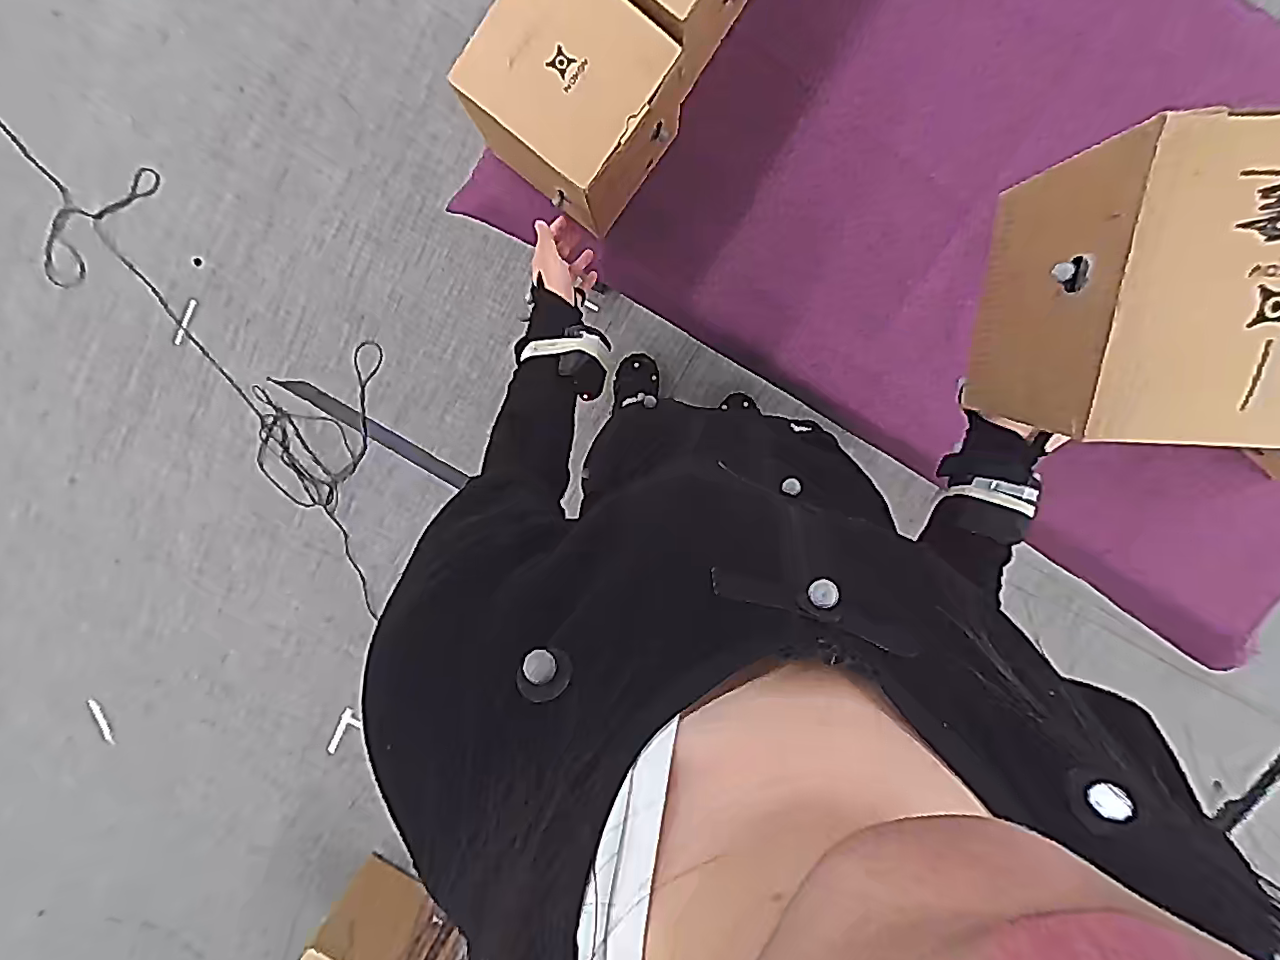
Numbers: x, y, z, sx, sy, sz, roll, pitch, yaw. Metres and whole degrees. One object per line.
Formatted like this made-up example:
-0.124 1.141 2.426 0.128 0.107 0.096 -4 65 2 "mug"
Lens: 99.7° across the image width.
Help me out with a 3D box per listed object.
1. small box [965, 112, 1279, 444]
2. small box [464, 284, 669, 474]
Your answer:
0.359 -0.126 0.378 0.168 0.176 0.179 3 105 6 "small box"
-0.085 -0.098 0.610 0.176 0.168 0.179 3 93 46 "small box"
